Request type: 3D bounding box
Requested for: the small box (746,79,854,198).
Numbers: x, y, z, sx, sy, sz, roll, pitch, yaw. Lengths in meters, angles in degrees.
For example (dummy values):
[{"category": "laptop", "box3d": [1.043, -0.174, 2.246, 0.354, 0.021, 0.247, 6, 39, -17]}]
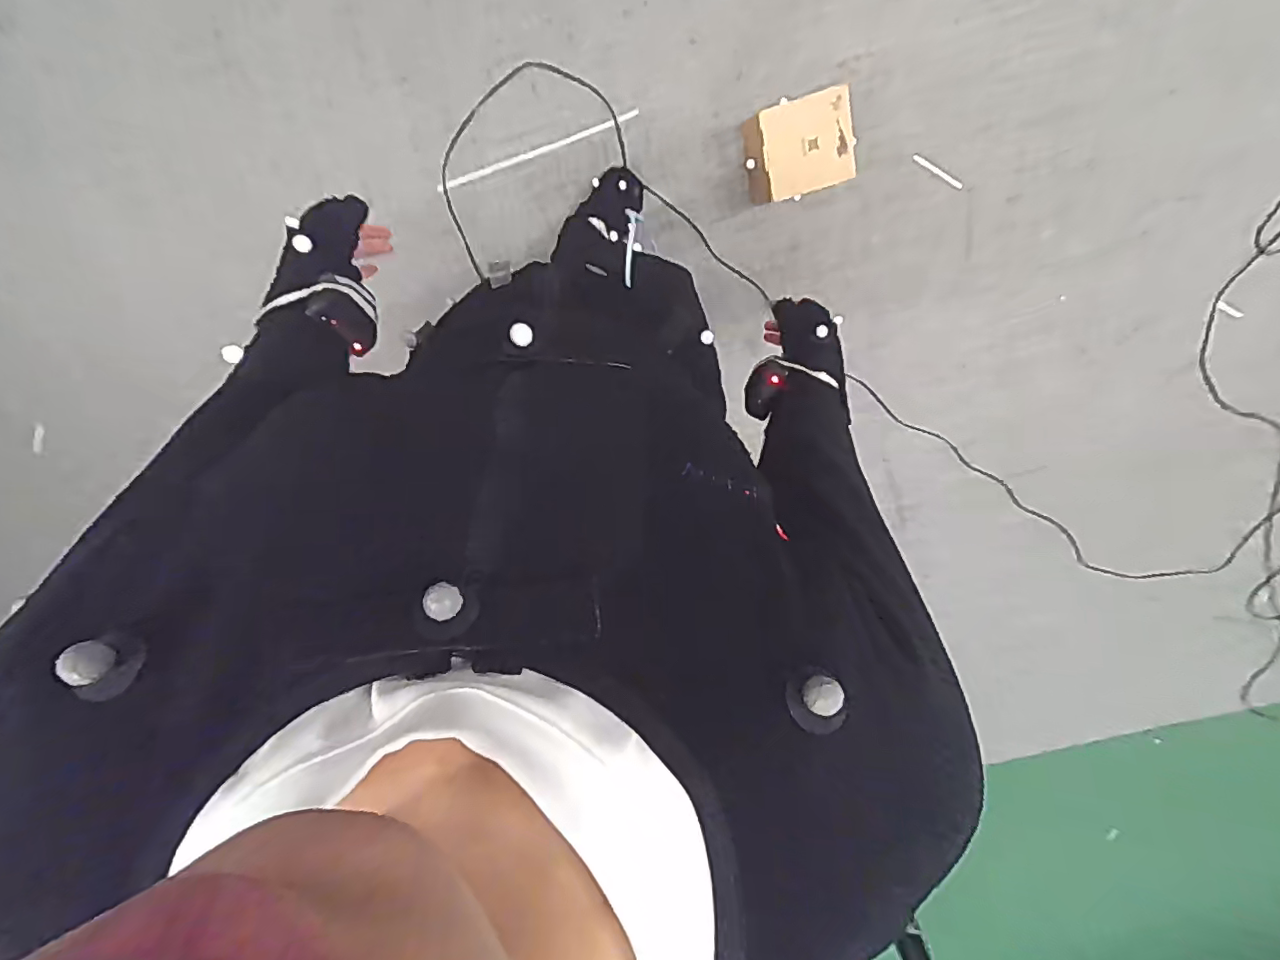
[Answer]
[{"category": "small box", "box3d": [0.326, -0.700, 1.130, 0.179, 0.176, 0.168, -15, 117, 6]}]
